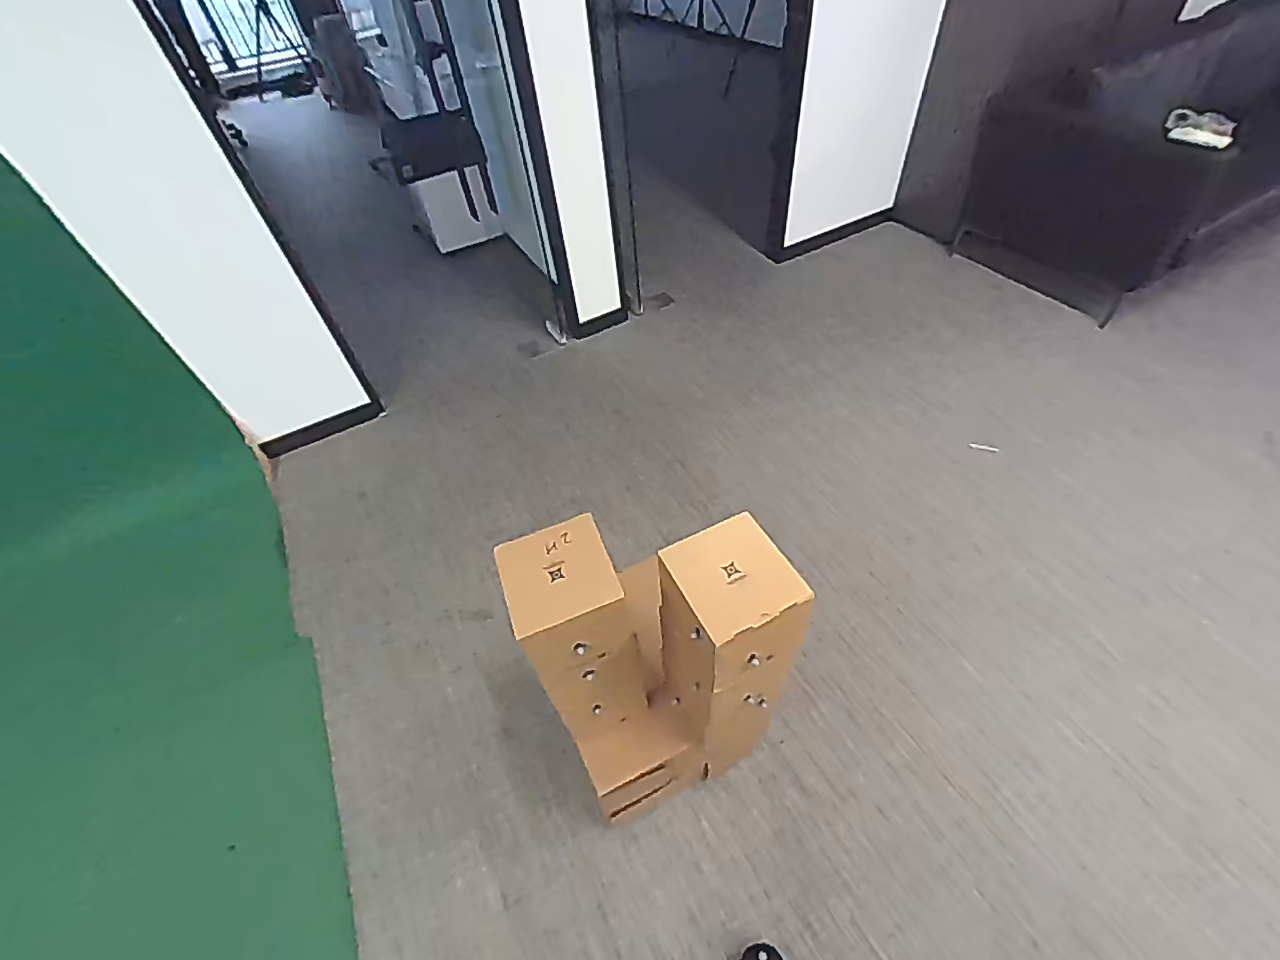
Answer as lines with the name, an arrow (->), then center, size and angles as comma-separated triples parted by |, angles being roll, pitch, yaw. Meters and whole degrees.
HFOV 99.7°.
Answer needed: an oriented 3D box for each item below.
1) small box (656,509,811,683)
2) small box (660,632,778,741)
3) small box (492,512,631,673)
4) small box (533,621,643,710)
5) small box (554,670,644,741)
small box -> 0.137, 0.184, 0.854 | 0.168, 0.176, 0.179 | -23, 51, -14
small box -> 0.155, 0.395, 1.103 | 0.179, 0.176, 0.168 | -25, 50, -15
small box -> -0.122, 0.189, 0.876 | 0.168, 0.176, 0.179 | -19, 49, -10
small box -> -0.111, 0.292, 1.001 | 0.179, 0.176, 0.168 | -27, 51, -13
small box -> -0.104, 0.404, 1.126 | 0.168, 0.176, 0.179 | -24, 49, -14
